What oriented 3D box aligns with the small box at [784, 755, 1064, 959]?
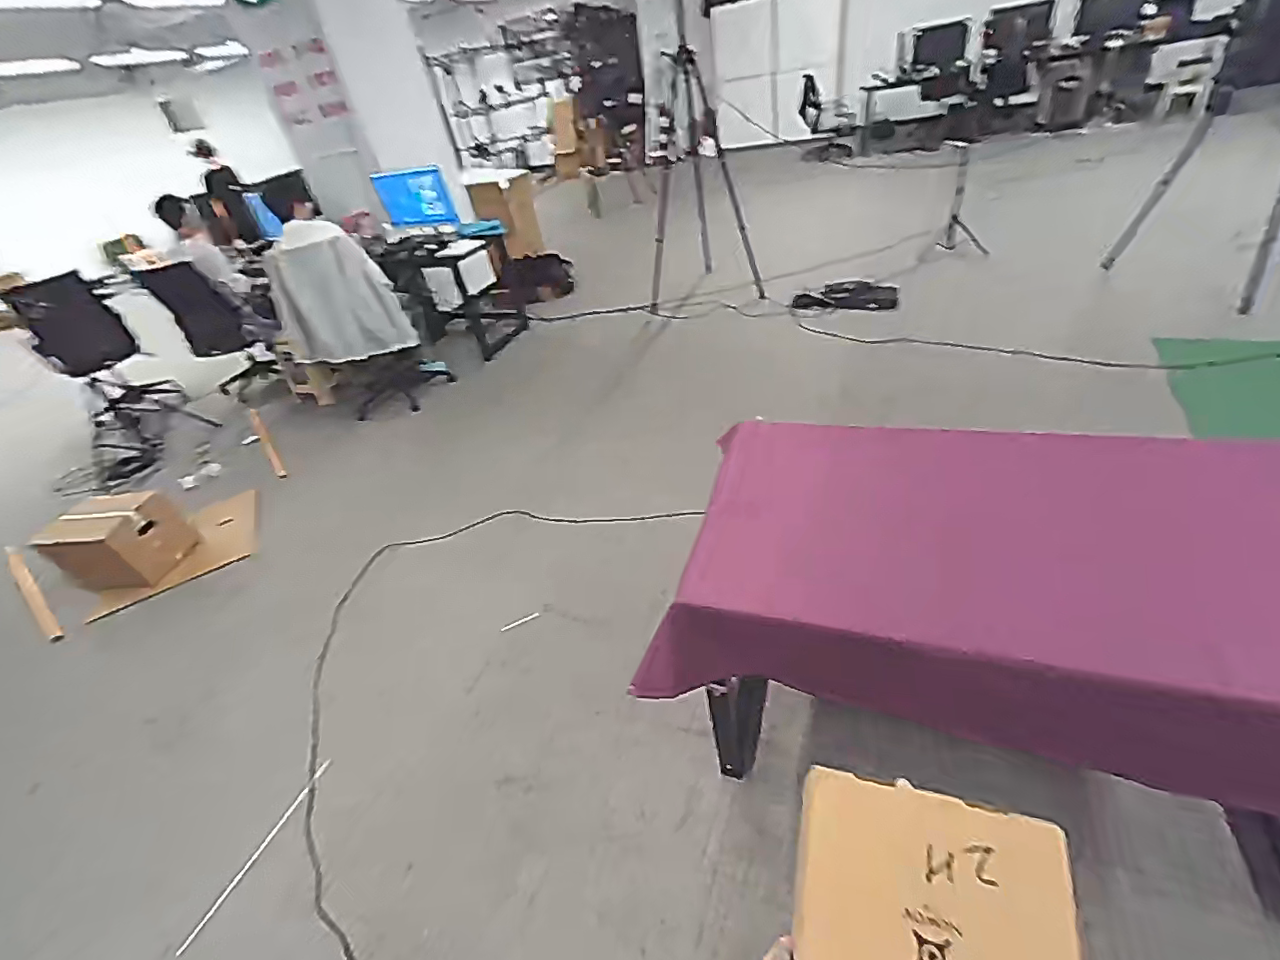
[{"bbox_3d":[0.205,0.340,0.426,0.168,0.176,0.179,6,60,18],"label":"small box"}]
